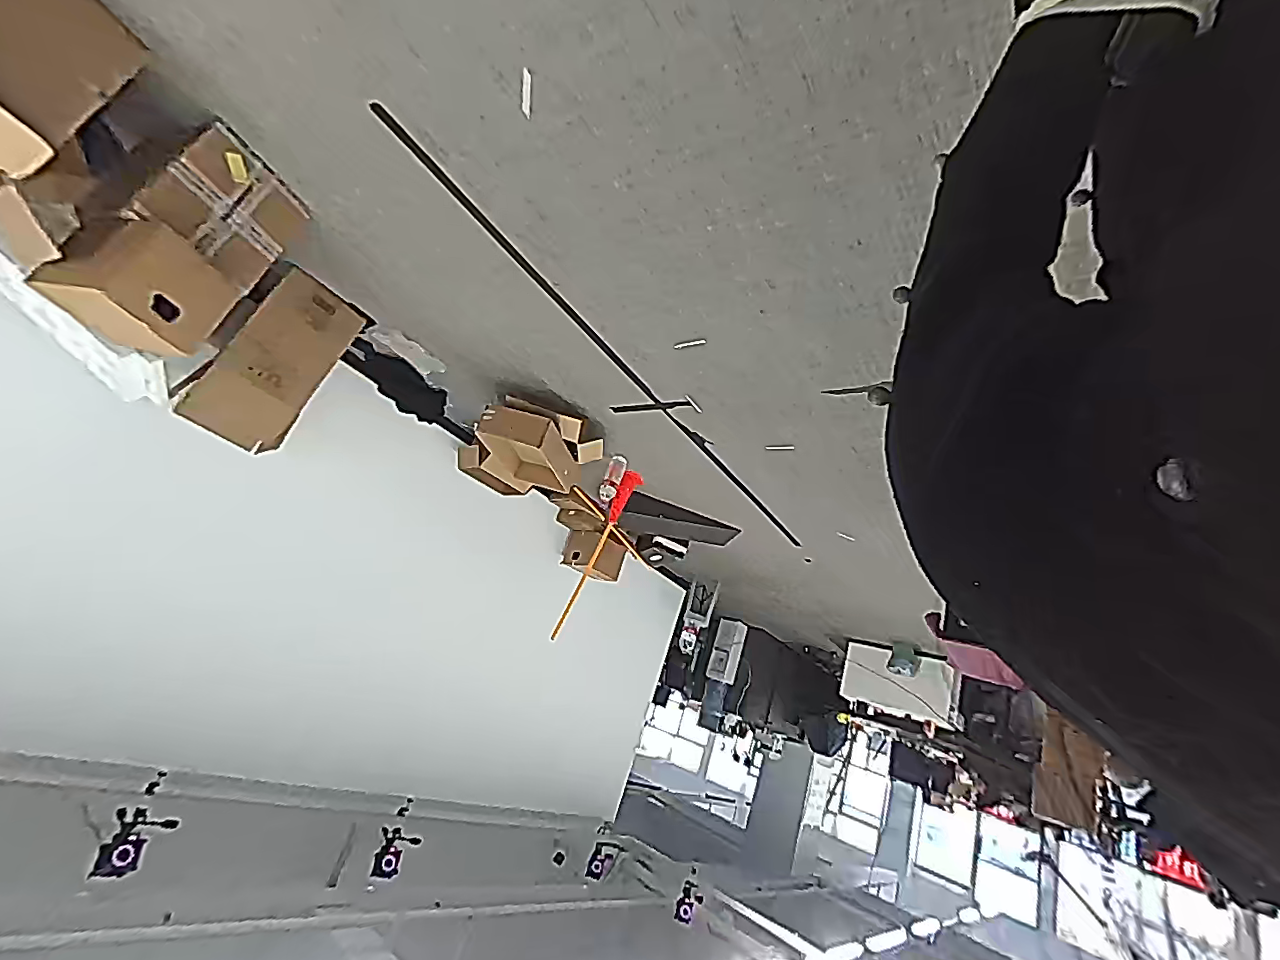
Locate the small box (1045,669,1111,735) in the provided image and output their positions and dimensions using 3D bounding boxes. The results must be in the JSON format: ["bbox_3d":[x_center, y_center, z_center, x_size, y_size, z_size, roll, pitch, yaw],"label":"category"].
[{"bbox_3d":[1.584,0.794,1.952,0.179,0.176,0.168,0,152,43],"label":"small box"}]

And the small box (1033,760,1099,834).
[{"bbox_3d":[1.462,1.082,1.851,0.168,0.176,0.179,0,152,43],"label":"small box"}]
